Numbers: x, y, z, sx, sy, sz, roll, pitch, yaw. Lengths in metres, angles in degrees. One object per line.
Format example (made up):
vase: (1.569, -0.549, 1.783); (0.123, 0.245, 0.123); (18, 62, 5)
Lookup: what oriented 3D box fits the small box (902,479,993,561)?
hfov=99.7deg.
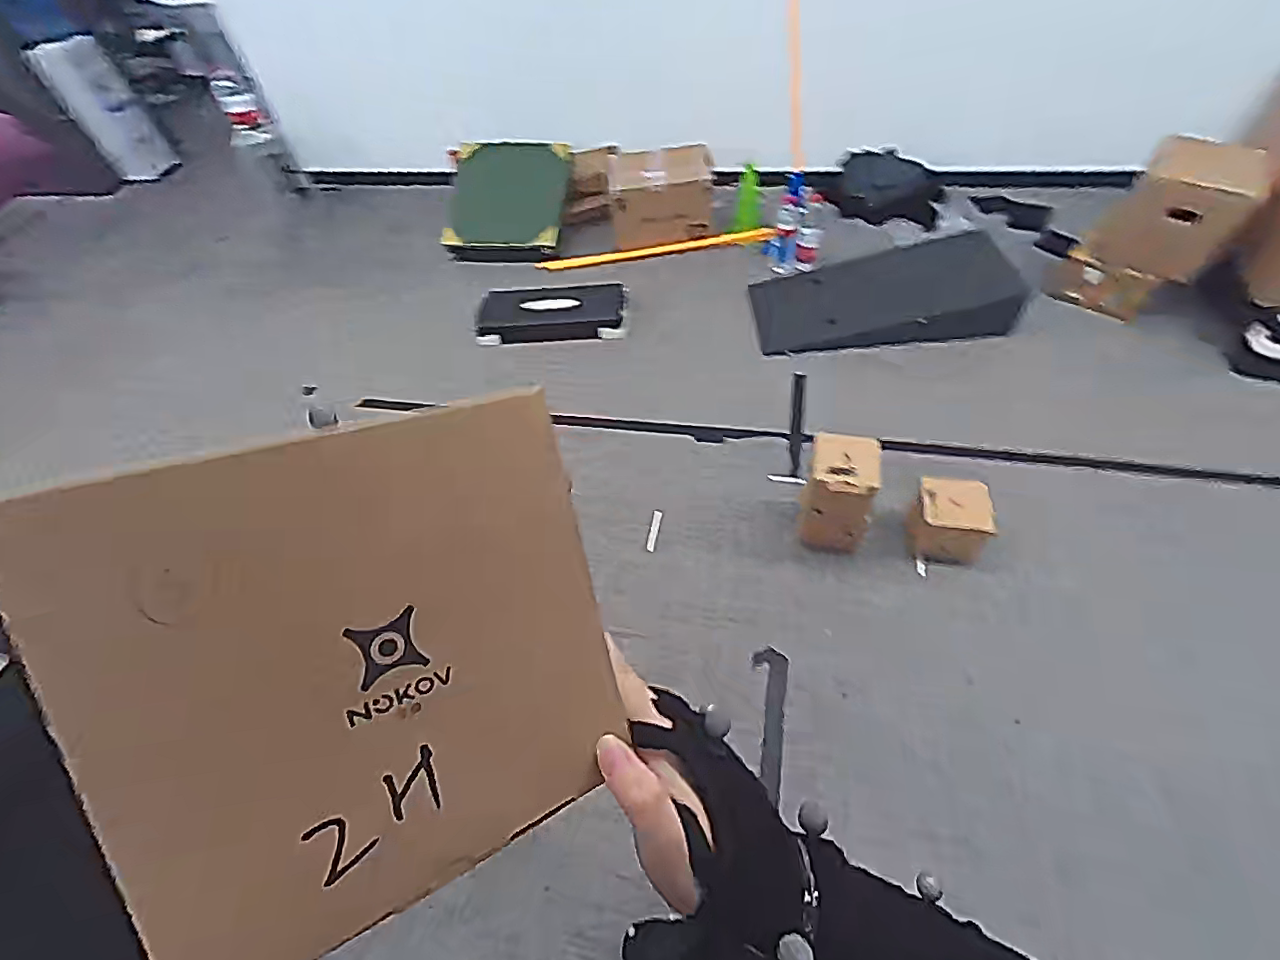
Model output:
small box: (0.887, 0.121, 1.577); (0.179, 0.176, 0.168); (7, 53, 10)

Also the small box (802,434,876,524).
small box: (0.548, 0.001, 1.497); (0.168, 0.176, 0.179); (9, 52, 11)

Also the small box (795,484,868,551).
small box: (0.571, 0.100, 1.626); (0.179, 0.176, 0.168); (6, 53, 10)

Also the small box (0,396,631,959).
small box: (-0.128, 0.067, 0.262); (0.168, 0.179, 0.176); (-15, 8, -28)
